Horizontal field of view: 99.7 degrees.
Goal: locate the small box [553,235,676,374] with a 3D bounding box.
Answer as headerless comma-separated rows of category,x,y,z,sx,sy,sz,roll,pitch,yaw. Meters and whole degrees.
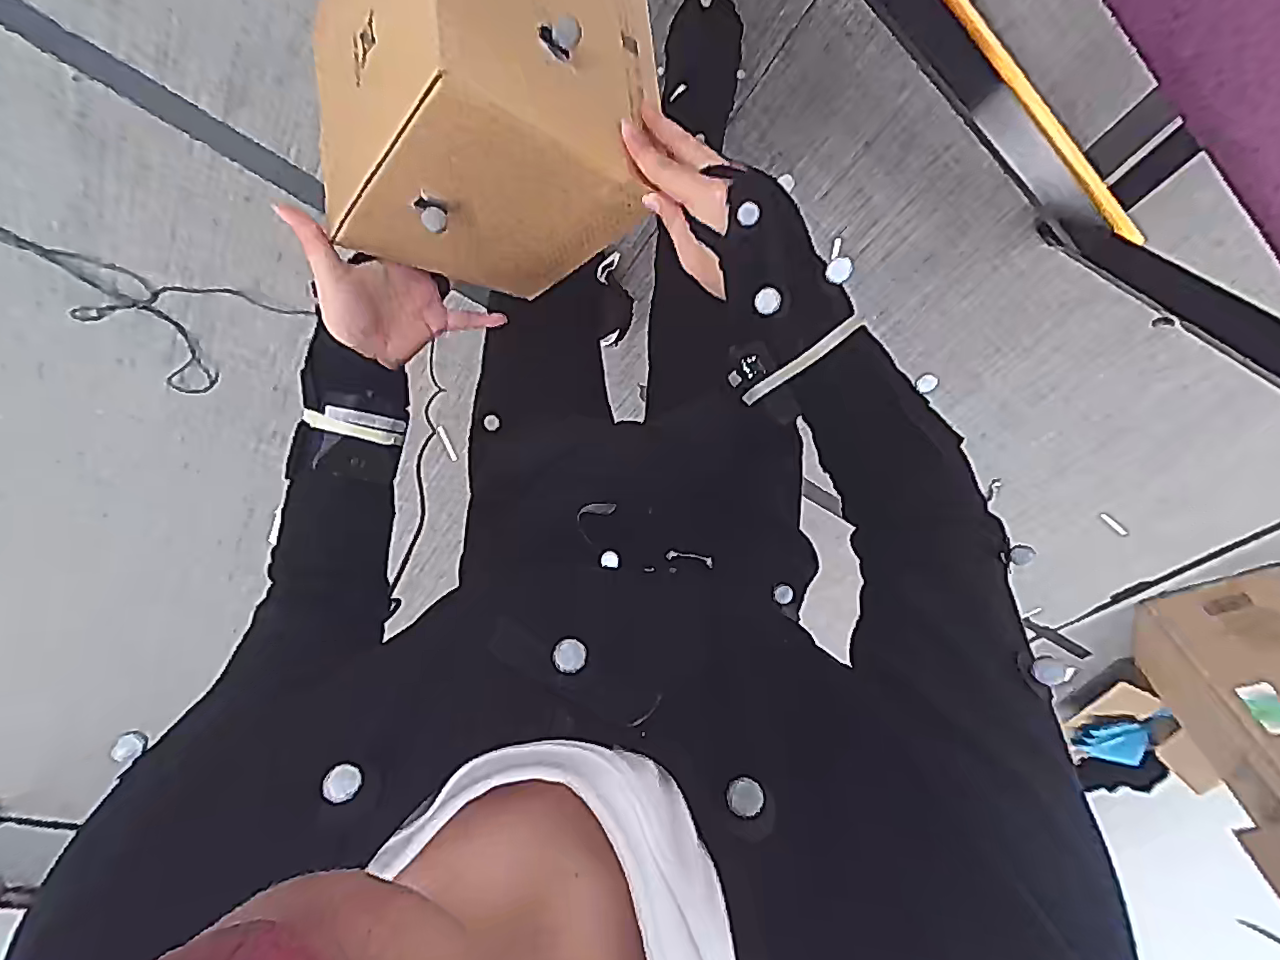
small box,-0.043,-0.304,0.944,0.179,0.176,0.168,-12,127,7

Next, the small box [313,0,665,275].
small box,-0.097,-0.265,0.366,0.179,0.168,0.176,-12,173,44
